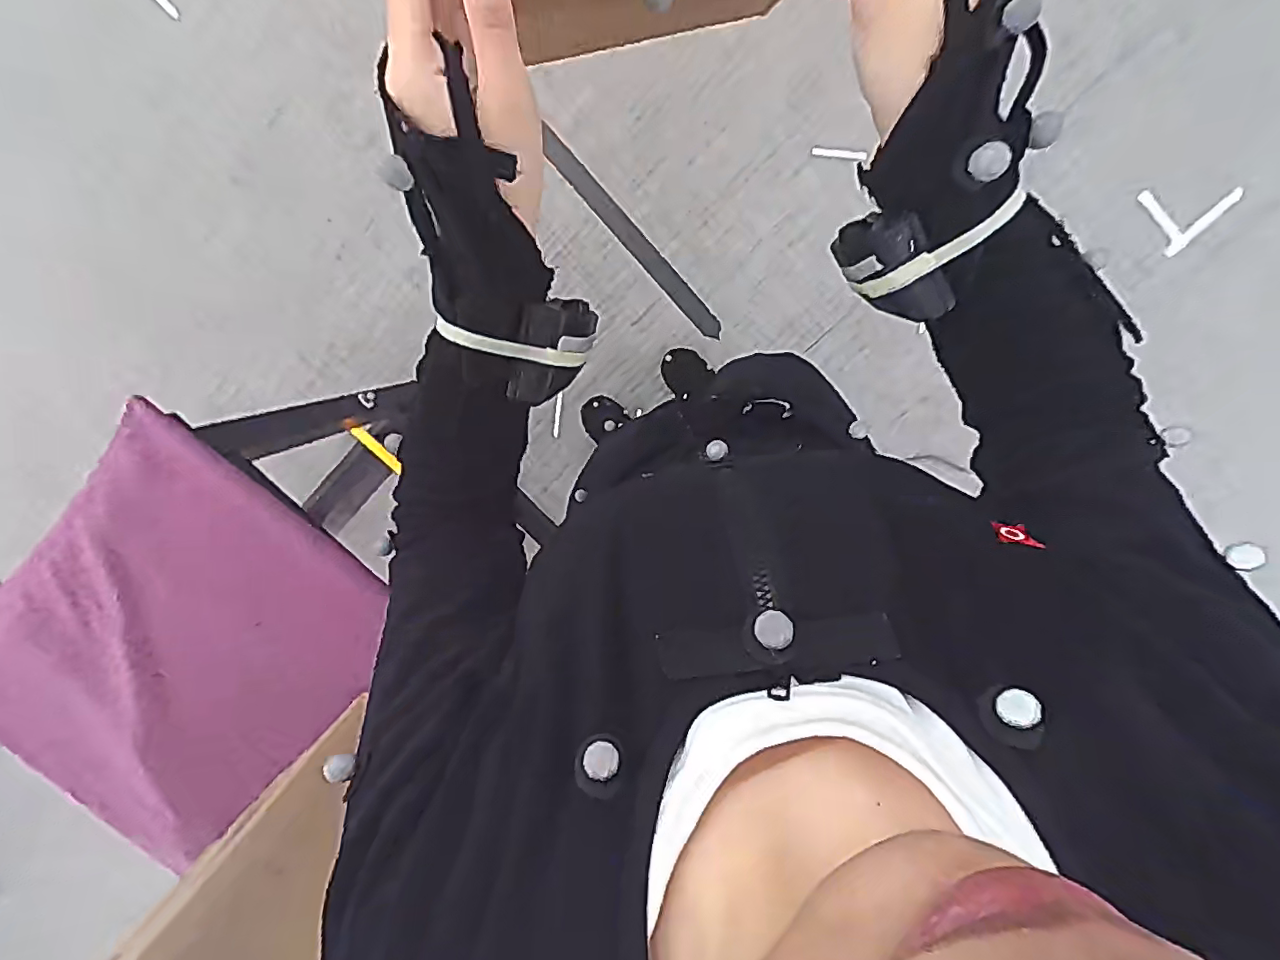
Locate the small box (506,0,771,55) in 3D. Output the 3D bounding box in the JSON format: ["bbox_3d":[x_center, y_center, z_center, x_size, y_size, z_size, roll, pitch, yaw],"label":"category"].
[{"bbox_3d":[0.003,-0.338,0.261,0.179,0.176,0.168,-11,116,1],"label":"small box"}]
